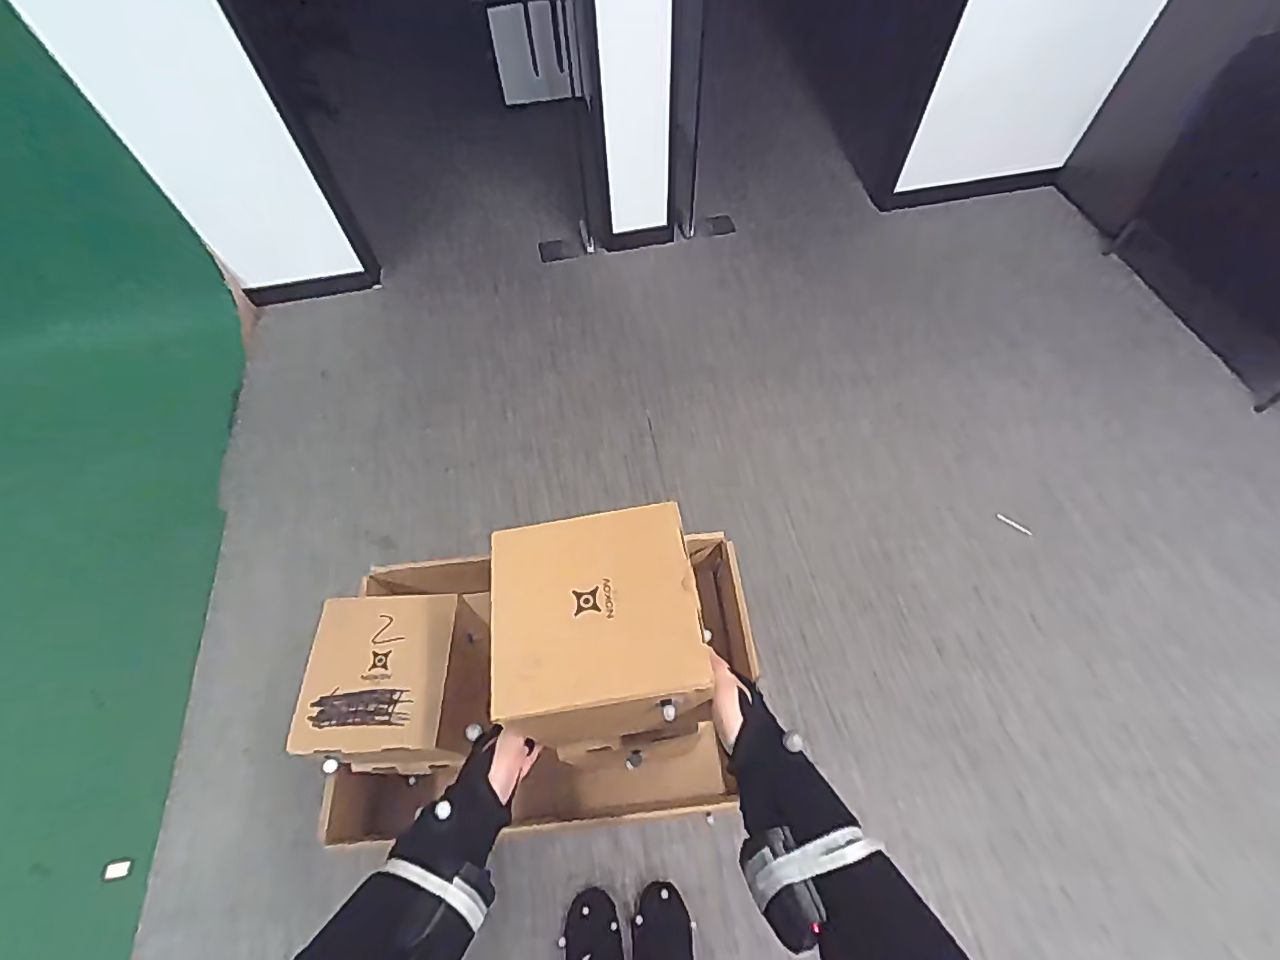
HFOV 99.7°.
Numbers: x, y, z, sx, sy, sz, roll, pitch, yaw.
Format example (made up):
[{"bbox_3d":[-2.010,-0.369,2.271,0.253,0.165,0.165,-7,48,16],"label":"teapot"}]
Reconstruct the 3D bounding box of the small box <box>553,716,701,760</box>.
[{"bbox_3d":[-0.021,0.252,0.693,0.168,0.176,0.179,-8,61,-3],"label":"small box"}]

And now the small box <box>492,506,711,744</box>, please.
[{"bbox_3d":[-0.031,0.147,0.526,0.179,0.176,0.168,-9,57,-1],"label":"small box"}]
